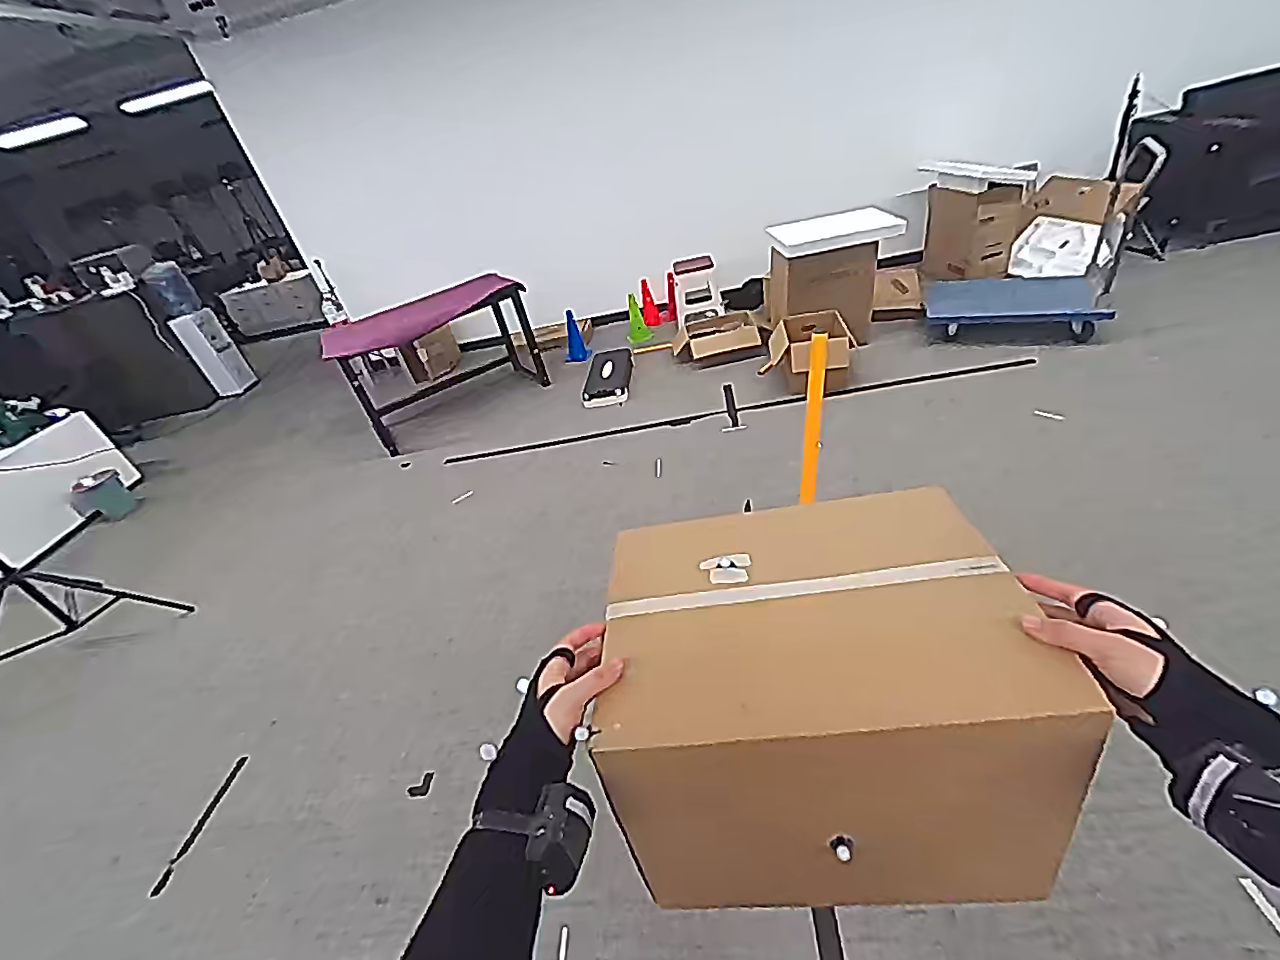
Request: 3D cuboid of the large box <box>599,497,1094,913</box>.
[{"bbox_3d":[0.196,0.257,0.640,0.408,0.320,0.320,-10,29,9],"label":"large box"}]
